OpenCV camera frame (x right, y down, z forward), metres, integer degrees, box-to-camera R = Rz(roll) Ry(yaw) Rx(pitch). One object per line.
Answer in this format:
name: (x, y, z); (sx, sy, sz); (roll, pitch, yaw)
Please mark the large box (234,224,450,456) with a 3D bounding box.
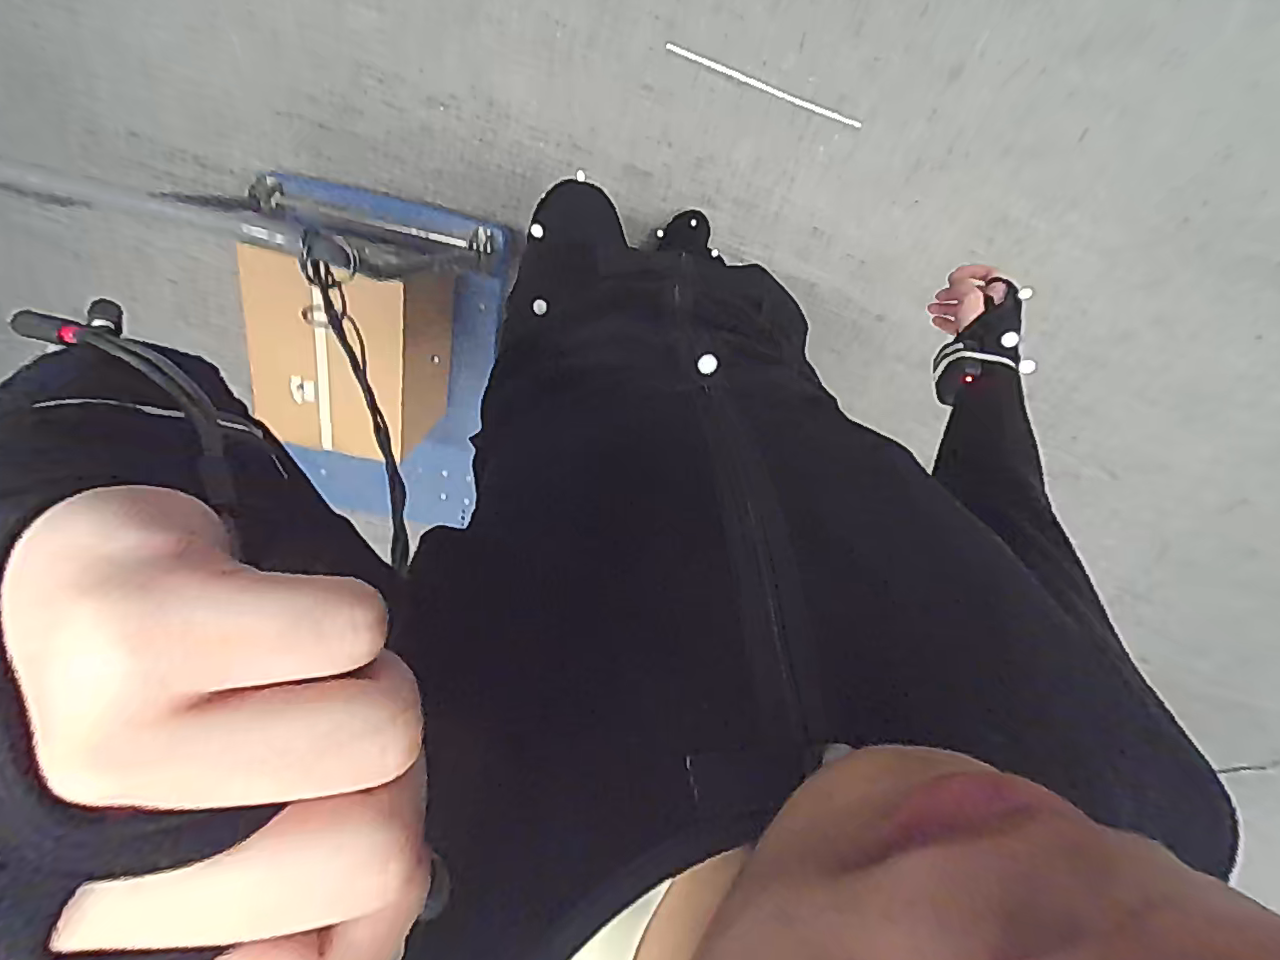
large box: (-0.636, -0.325, 1.225); (0.320, 0.320, 0.408); (13, 119, -5)
